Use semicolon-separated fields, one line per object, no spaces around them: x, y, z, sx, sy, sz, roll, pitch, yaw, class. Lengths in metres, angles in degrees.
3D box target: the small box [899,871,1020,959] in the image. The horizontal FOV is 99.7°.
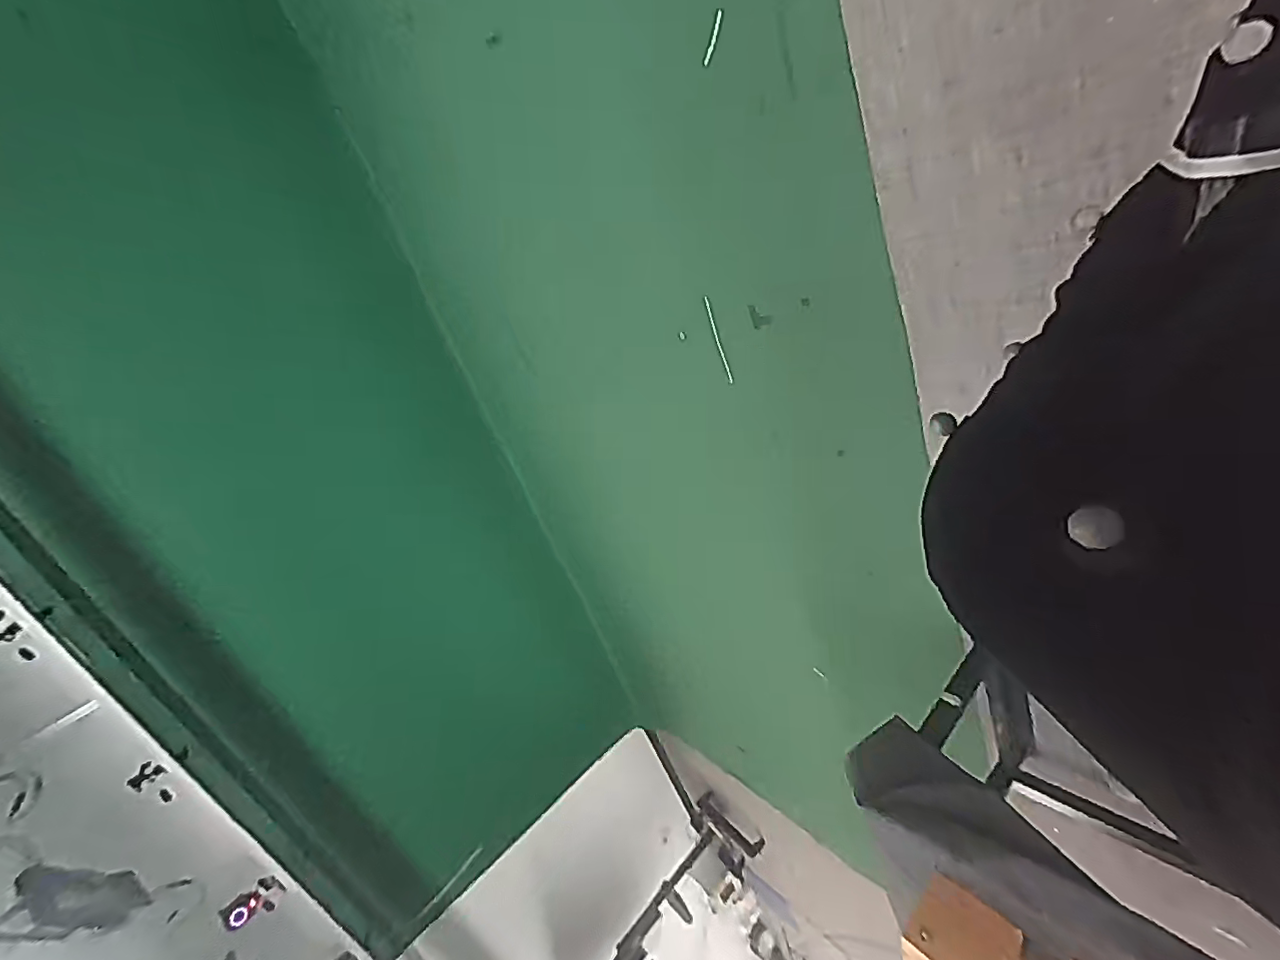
0.681;0.994;1.150;0.179;0.176;0.168;18;135;49;small box
